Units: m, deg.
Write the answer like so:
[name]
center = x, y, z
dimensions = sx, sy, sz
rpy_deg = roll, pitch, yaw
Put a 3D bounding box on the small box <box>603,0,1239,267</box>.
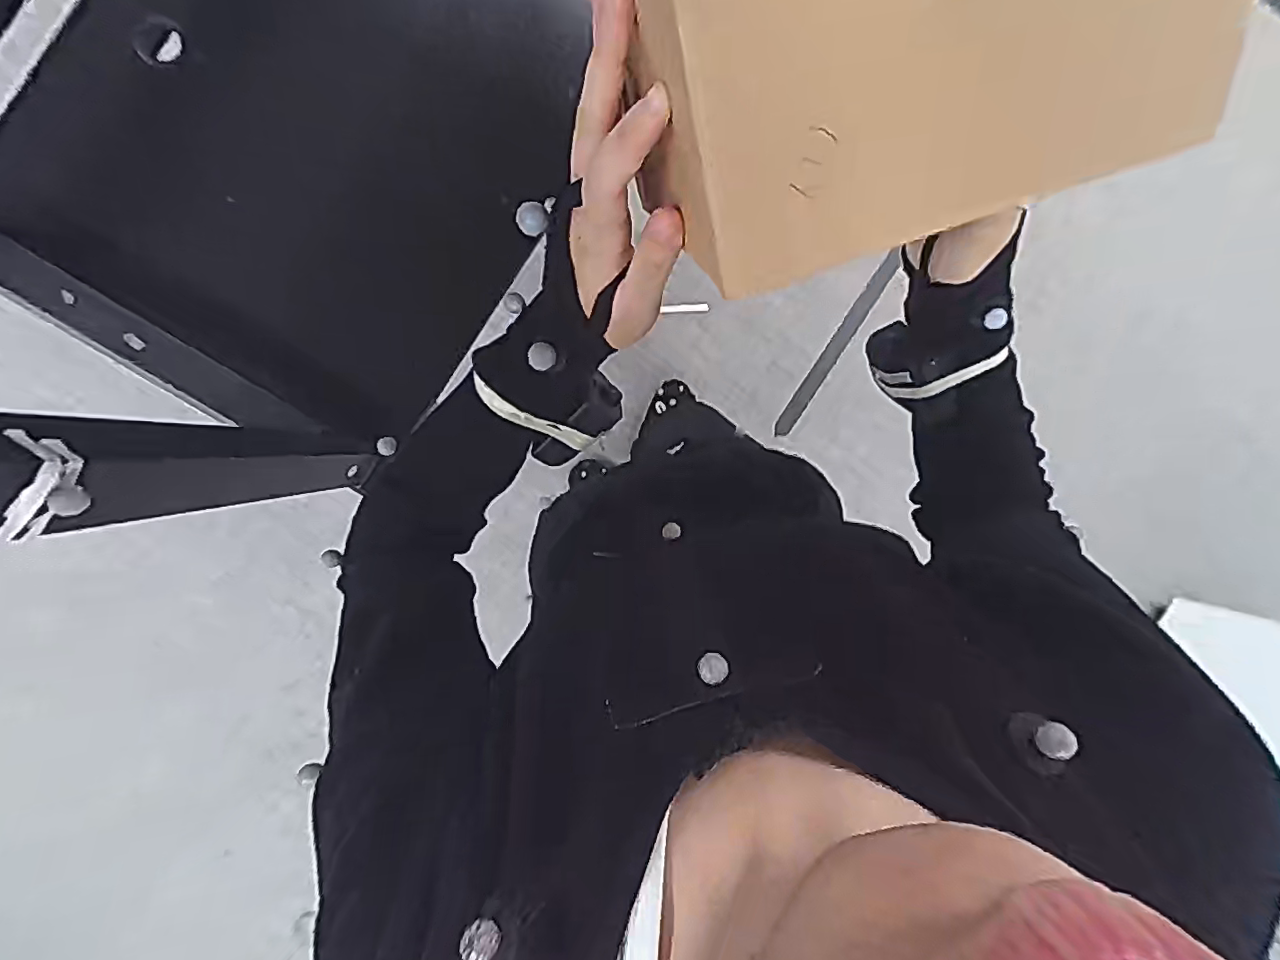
[small box]
center = 0.077, -0.206, 0.206
dimensions = 0.179, 0.176, 0.168
rpy_deg = -19, 127, 1
